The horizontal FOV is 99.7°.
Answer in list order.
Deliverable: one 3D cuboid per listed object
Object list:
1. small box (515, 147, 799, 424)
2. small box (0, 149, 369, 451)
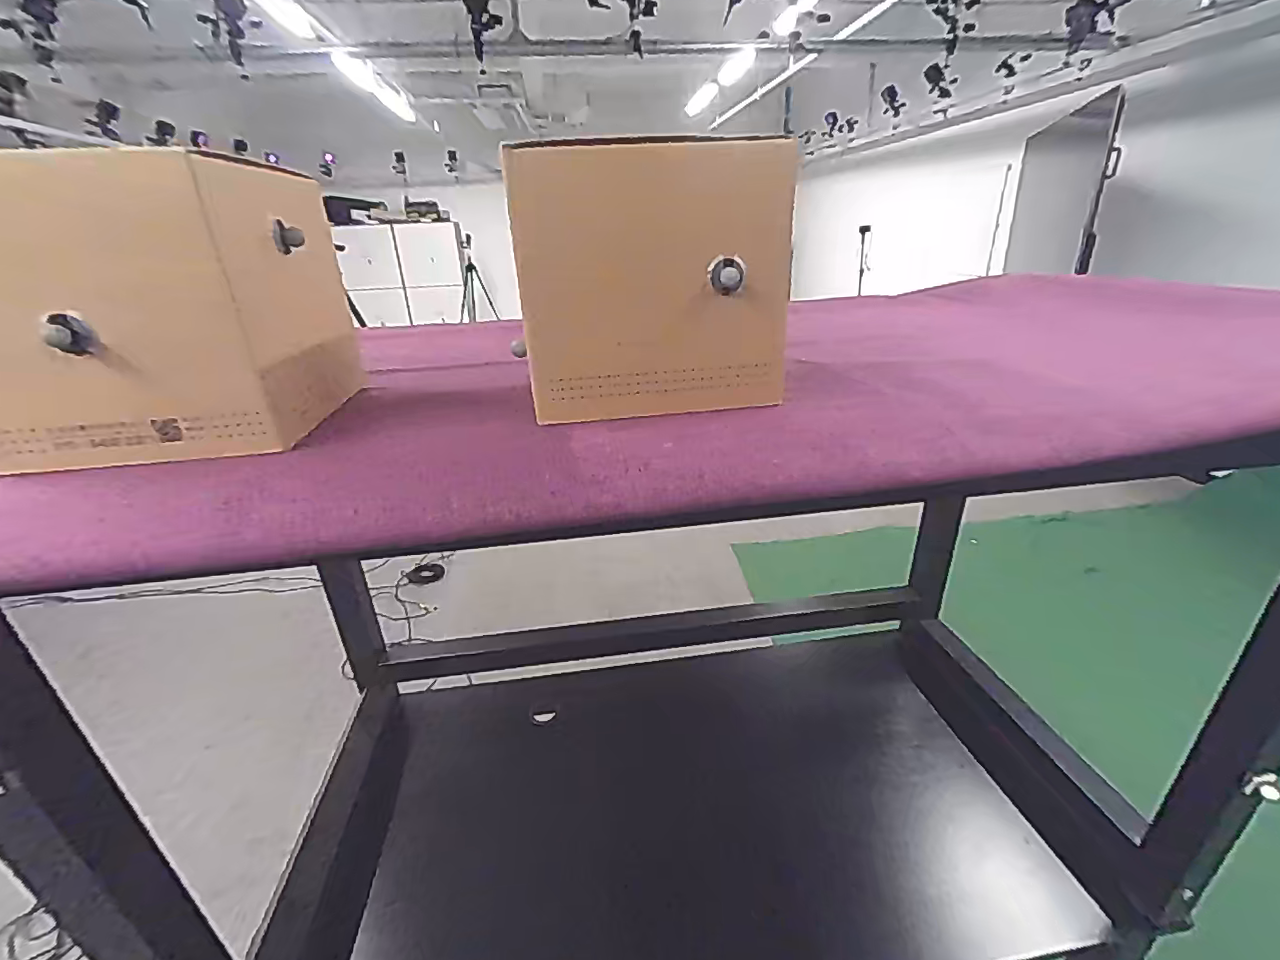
[{"bbox_3d":[0.005,-0.151,0.426,0.179,0.176,0.168,-6,24,-7],"label":"small box"},{"bbox_3d":[-0.312,-0.123,0.381,0.168,0.176,0.179,-4,24,-8],"label":"small box"}]
